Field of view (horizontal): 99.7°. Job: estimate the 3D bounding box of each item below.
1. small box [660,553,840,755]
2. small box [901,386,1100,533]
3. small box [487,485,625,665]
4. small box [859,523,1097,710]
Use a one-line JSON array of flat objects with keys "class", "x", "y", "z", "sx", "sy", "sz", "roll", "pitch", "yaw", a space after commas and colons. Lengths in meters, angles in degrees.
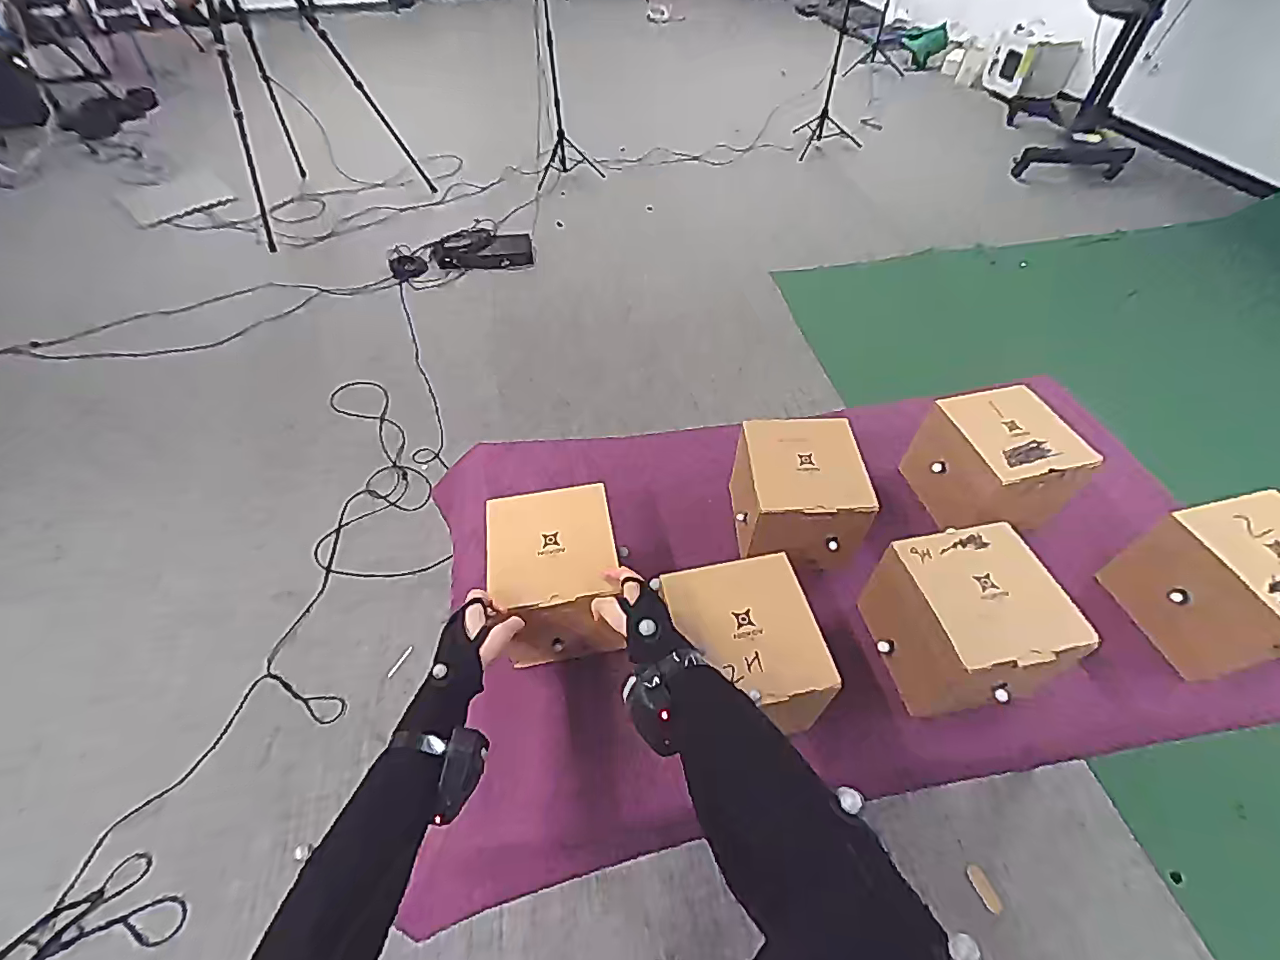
[{"class": "small box", "x": 0.120, "y": 0.220, "z": 0.681, "sx": 0.168, "sy": 0.176, "sz": 0.179, "roll": -10, "pitch": 51, "yaw": -5}, {"class": "small box", "x": 0.560, "y": -0.022, "z": 0.871, "sx": 0.168, "sy": 0.176, "sz": 0.179, "roll": -10, "pitch": 50, "yaw": -7}, {"class": "small box", "x": -0.115, "y": 0.133, "z": 0.757, "sx": 0.168, "sy": 0.176, "sz": 0.179, "roll": -9, "pitch": 51, "yaw": -7}, {"class": "small box", "x": 0.416, "y": 0.183, "z": 0.704, "sx": 0.168, "sy": 0.176, "sz": 0.179, "roll": -8, "pitch": 50, "yaw": -6}]
